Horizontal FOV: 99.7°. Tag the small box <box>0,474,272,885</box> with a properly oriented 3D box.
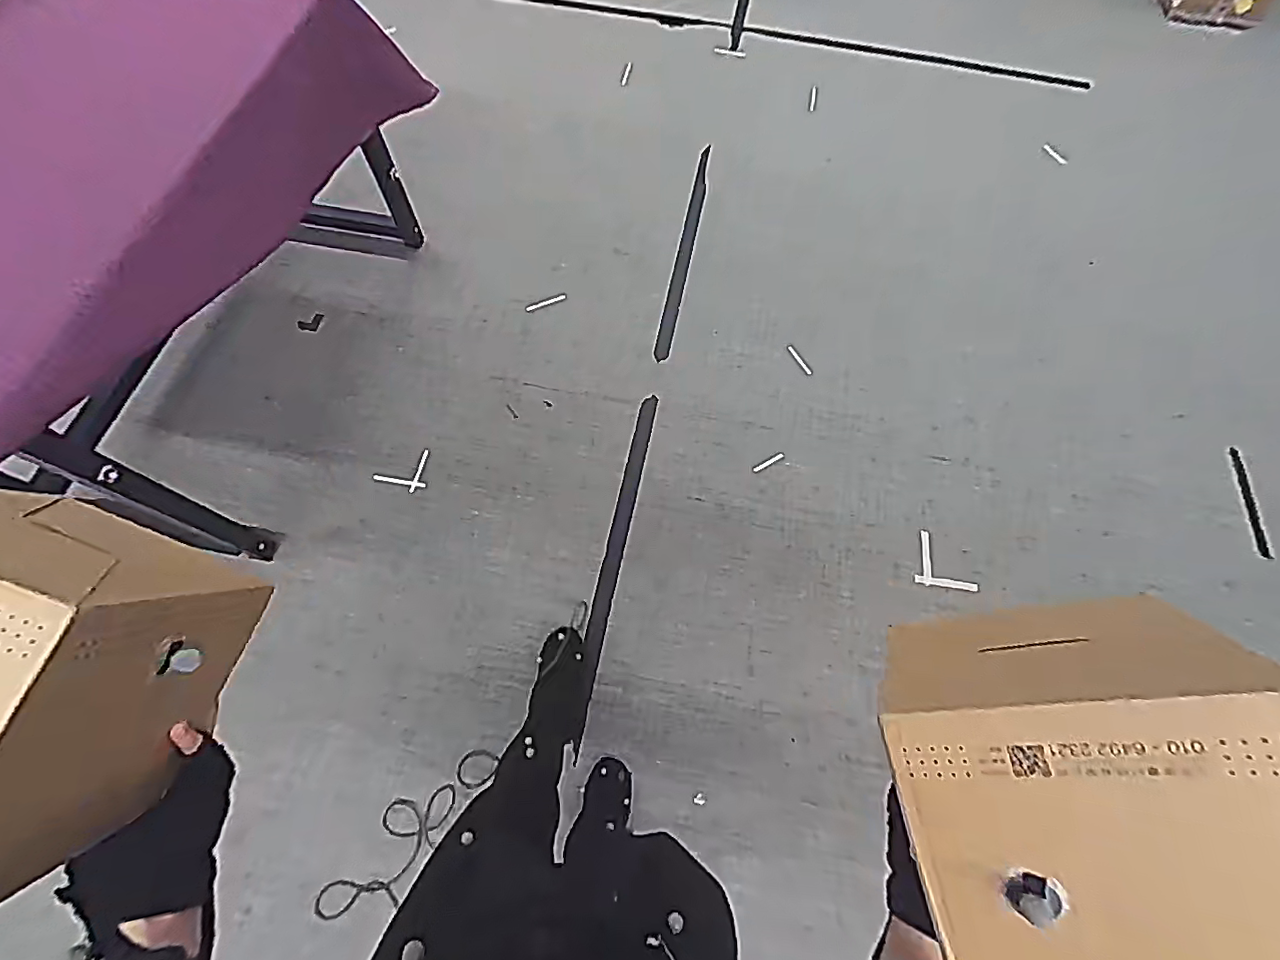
[{"bbox_3d":[-0.361,0.097,0.300,0.168,0.179,0.176,24,80,-3],"label":"small box"}]

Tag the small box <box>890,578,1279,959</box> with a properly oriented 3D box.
[{"bbox_3d":[0.251,0.164,0.306,0.168,0.179,0.176,-16,85,26],"label":"small box"}]
